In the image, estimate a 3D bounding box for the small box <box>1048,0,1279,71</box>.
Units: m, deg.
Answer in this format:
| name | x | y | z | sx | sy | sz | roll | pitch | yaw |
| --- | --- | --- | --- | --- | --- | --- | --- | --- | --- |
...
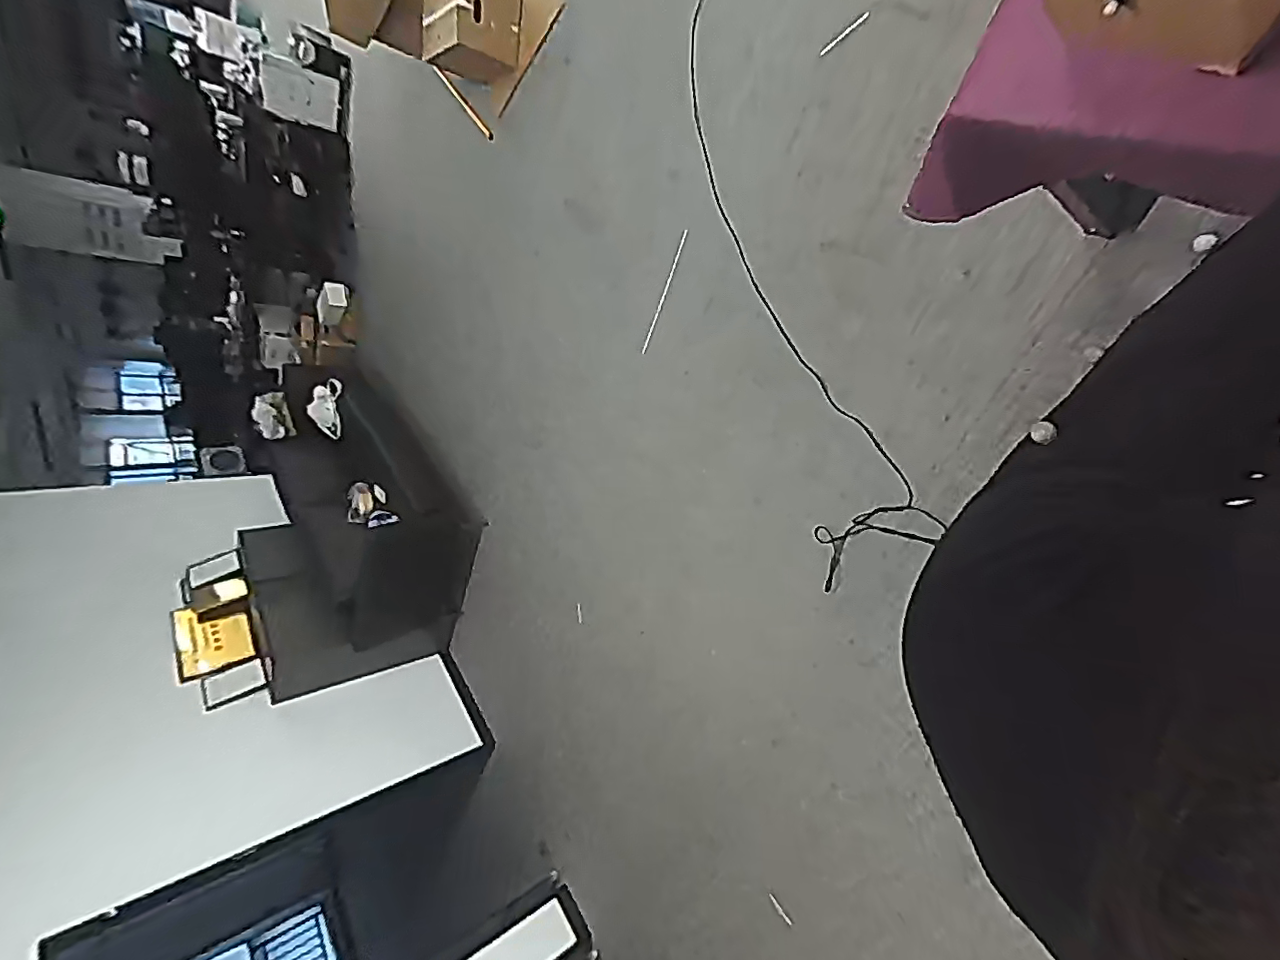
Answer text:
| name | x | y | z | sx | sy | sz | roll | pitch | yaw |
| --- | --- | --- | --- | --- | --- | --- | --- | --- | --- |
| small box | 0.488 | -0.493 | 0.466 | 0.179 | 0.176 | 0.168 | 49 | 128 | 32 |
